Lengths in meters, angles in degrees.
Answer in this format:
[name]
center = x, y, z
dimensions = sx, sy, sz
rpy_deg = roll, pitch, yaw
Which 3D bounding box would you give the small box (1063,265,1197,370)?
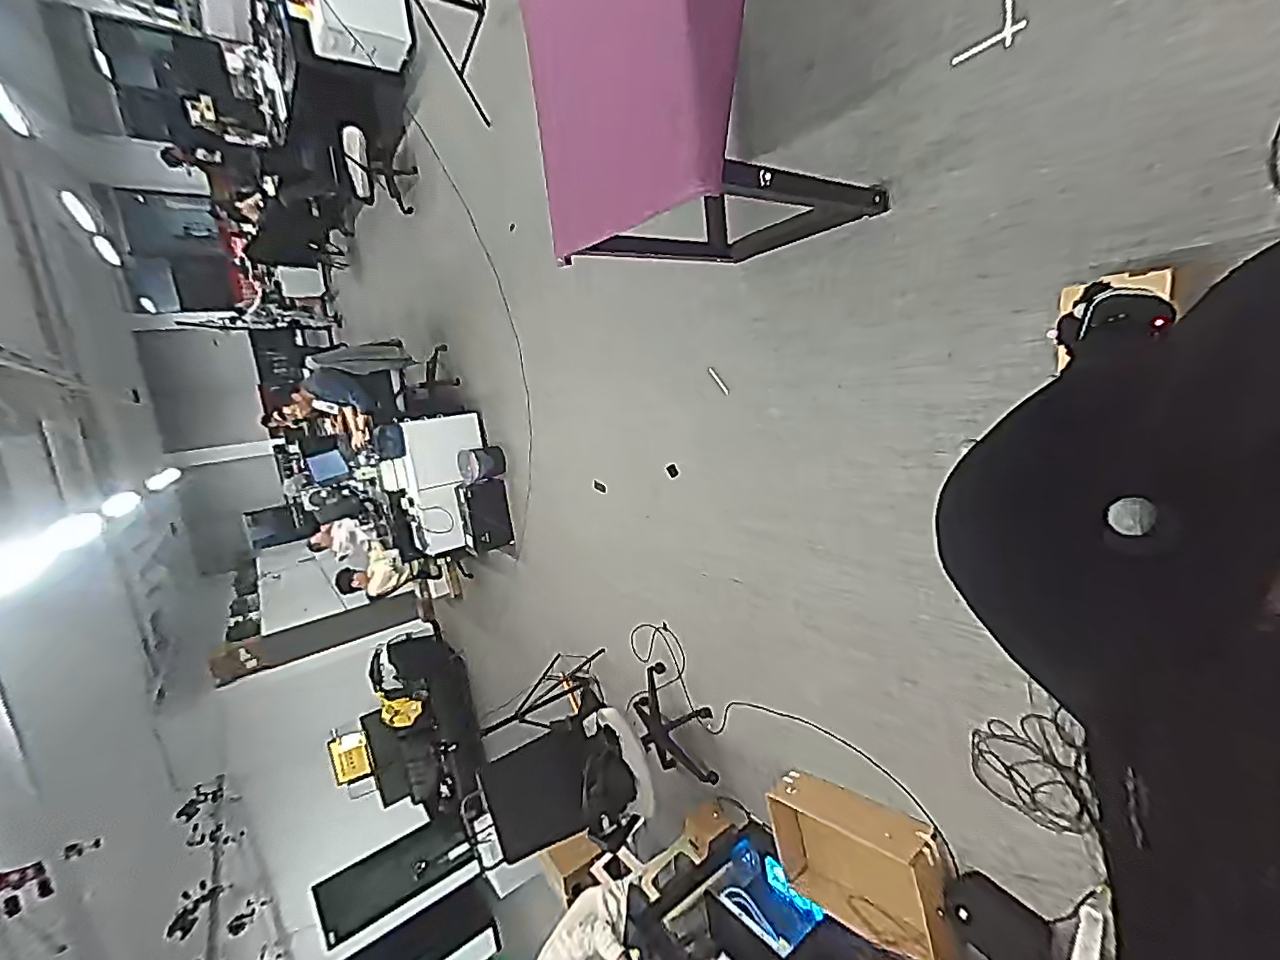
[small box]
center = 0.975, -0.315, 1.077
dimensions = 0.168, 0.176, 0.179
rpy_deg = 8, 106, 53
